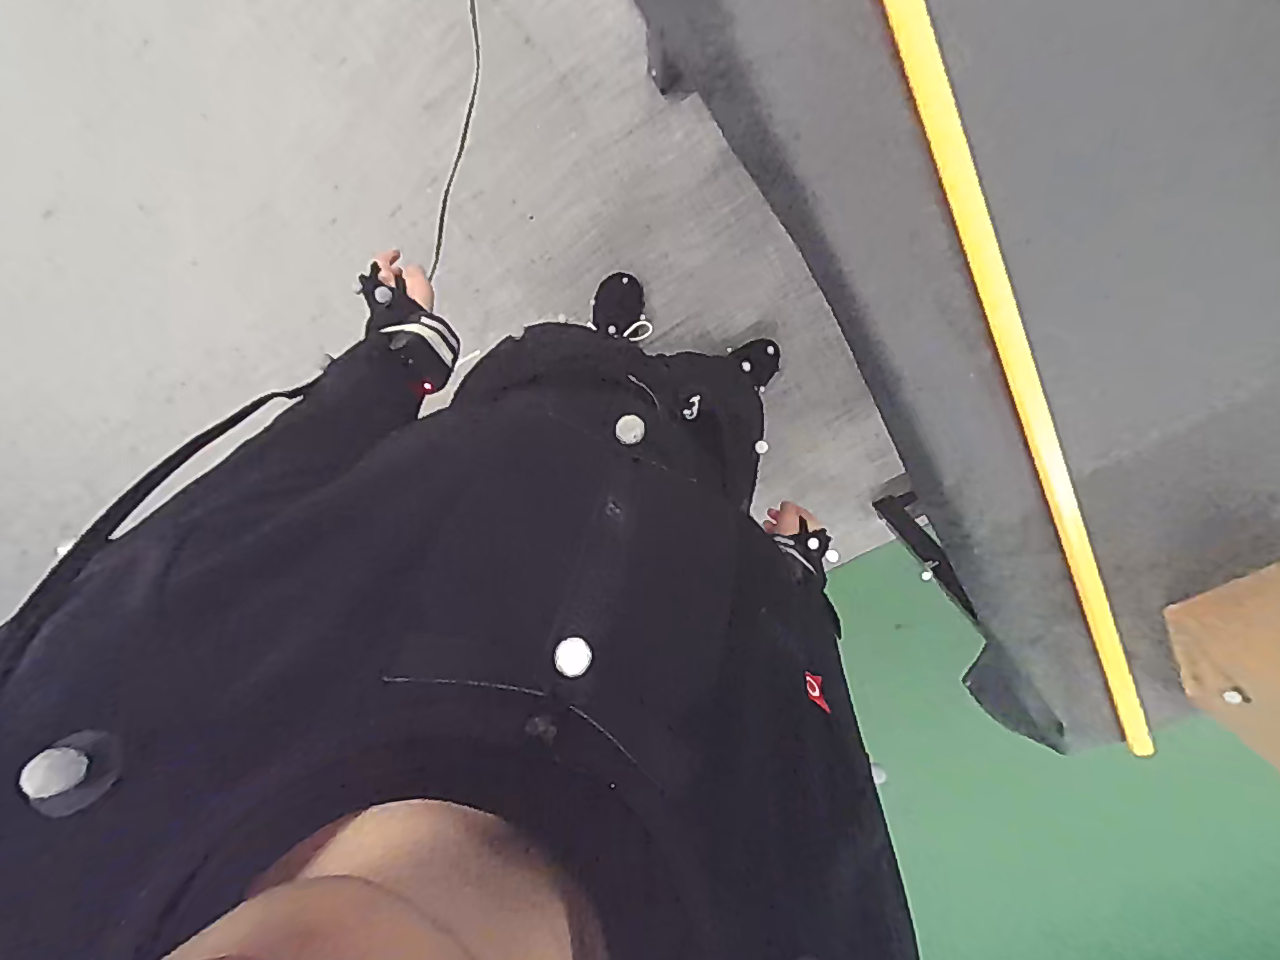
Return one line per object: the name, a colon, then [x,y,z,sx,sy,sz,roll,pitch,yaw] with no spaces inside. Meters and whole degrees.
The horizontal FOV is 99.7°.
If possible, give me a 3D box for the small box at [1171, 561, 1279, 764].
small box: [0.762,0.214,0.611,0.179,0.176,0.168,-29,108,12]
